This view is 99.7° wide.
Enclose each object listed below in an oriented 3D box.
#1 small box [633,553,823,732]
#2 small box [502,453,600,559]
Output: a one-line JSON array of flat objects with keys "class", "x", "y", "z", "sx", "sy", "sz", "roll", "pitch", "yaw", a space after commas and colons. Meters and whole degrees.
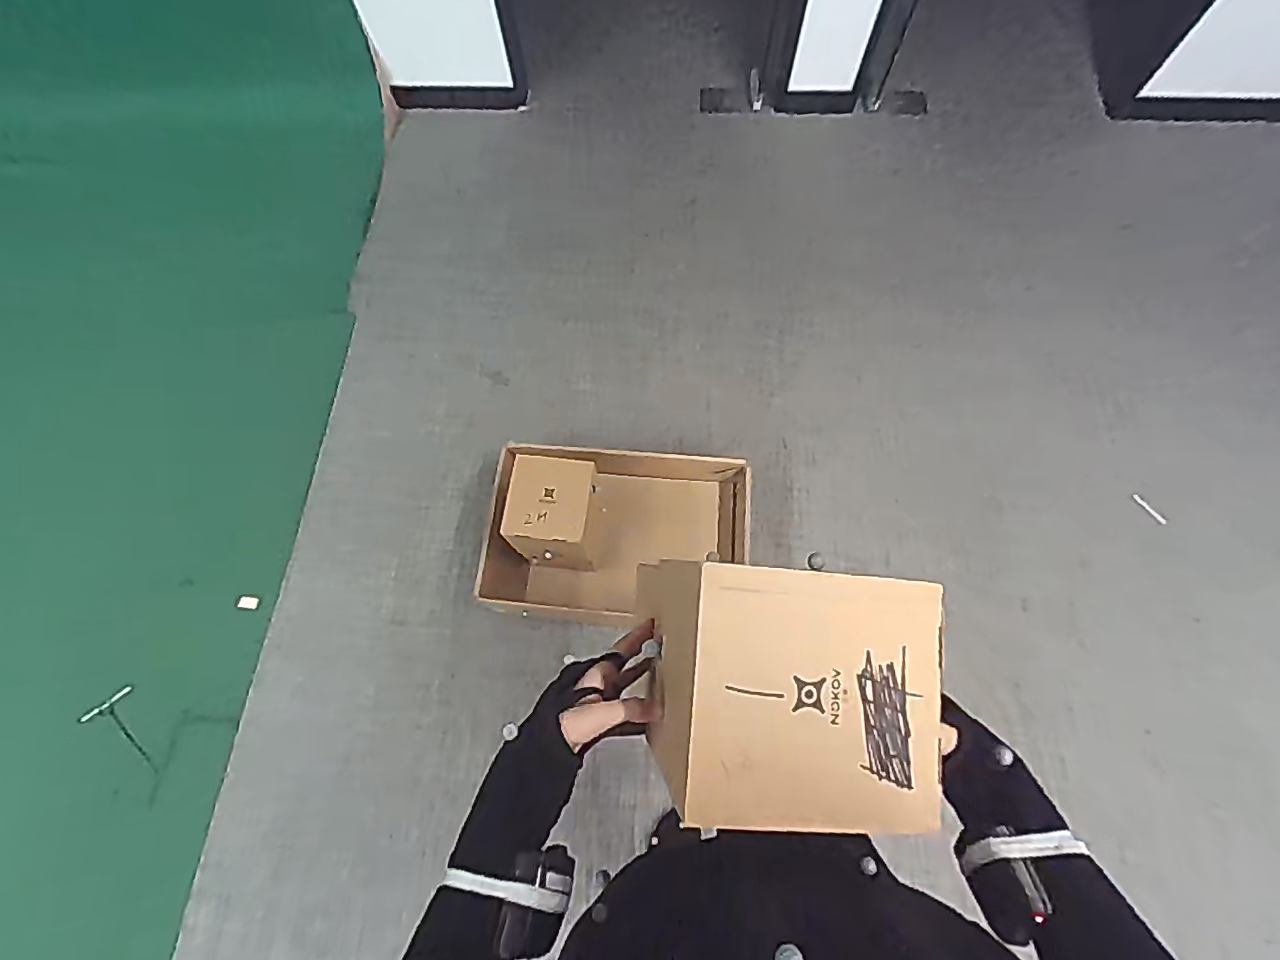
[{"class": "small box", "x": 0.086, "y": 0.170, "z": 0.605, "sx": 0.179, "sy": 0.176, "sz": 0.168, "roll": 3, "pitch": 82, "yaw": -6}, {"class": "small box", "x": -0.182, "y": 0.061, "z": 1.170, "sx": 0.168, "sy": 0.176, "sz": 0.179, "roll": 6, "pitch": 71, "yaw": 5}]
